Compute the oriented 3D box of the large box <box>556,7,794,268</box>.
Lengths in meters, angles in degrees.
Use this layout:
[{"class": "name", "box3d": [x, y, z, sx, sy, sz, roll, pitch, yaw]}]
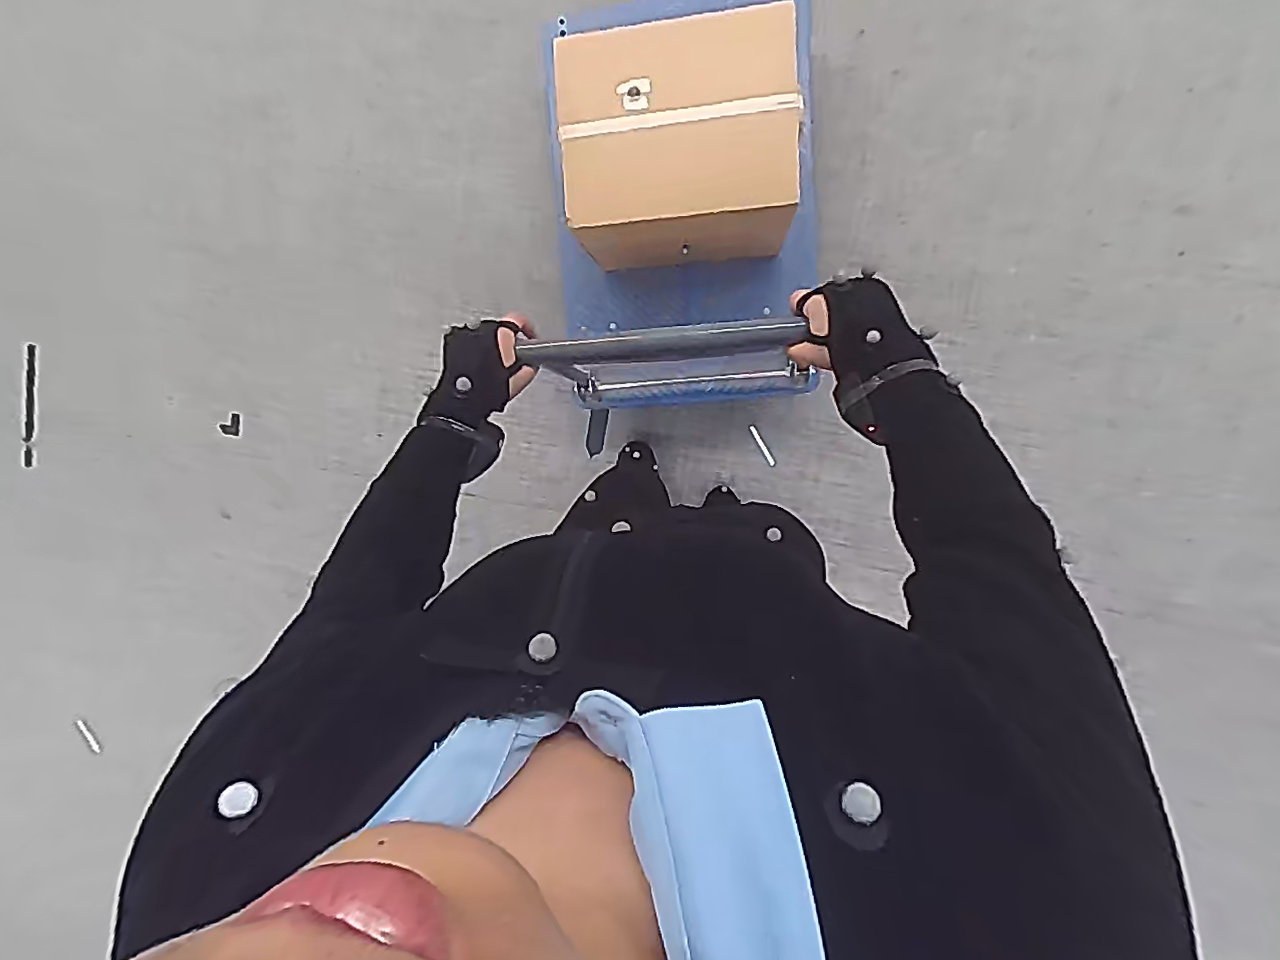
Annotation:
[{"class": "large box", "box3d": [0.081, -0.636, 1.081, 0.408, 0.320, 0.320, -2, 96, 9]}]
